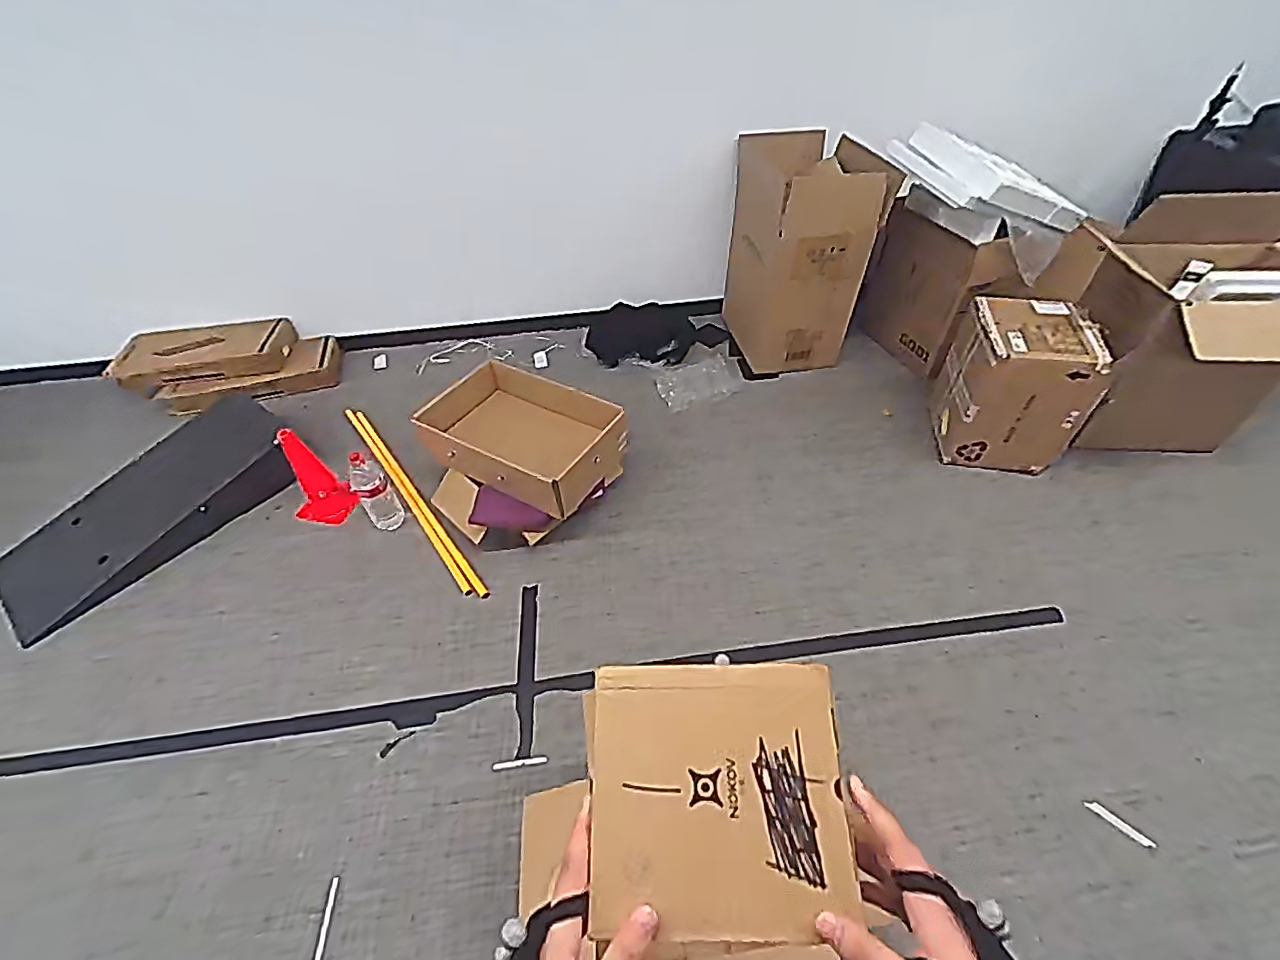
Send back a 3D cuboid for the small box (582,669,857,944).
[{"bbox_3d":[0.054,0.251,0.446,0.179,0.176,0.168,-2,63,3],"label":"small box"}]
